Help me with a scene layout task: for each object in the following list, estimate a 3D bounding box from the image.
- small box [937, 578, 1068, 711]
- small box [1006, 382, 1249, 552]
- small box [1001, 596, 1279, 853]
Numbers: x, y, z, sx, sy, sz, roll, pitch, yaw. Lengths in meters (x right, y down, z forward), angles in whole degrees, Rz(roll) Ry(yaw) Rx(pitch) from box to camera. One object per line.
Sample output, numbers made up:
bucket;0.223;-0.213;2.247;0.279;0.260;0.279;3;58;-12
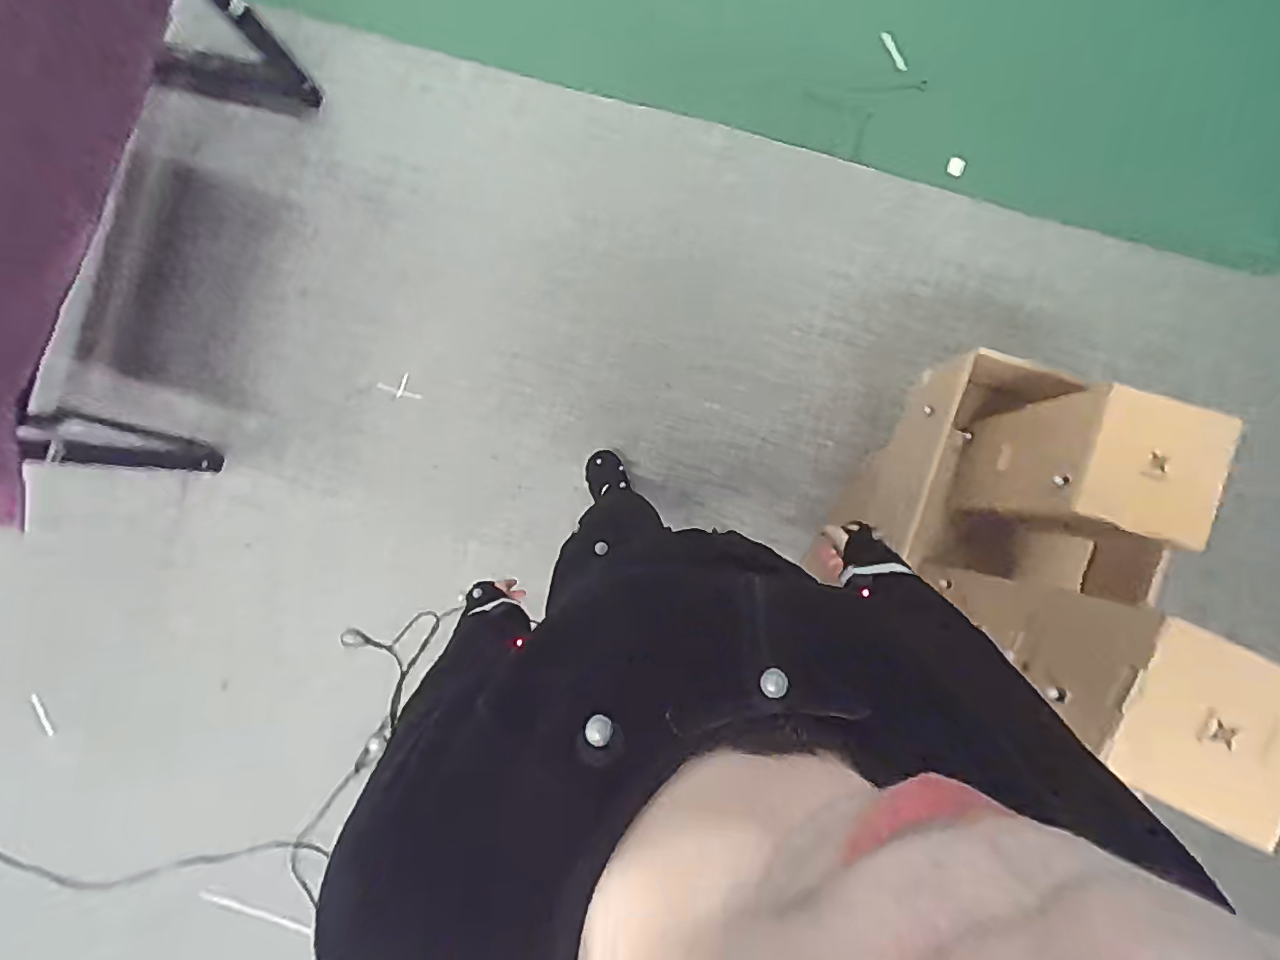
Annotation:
small box;0.555;0.248;0.751;0.179;0.176;0.168;25;90;5
small box;0.658;-0.016;0.755;0.168;0.176;0.179;18;90;4
small box;0.546;0.241;0.587;0.179;0.176;0.168;27;90;3
